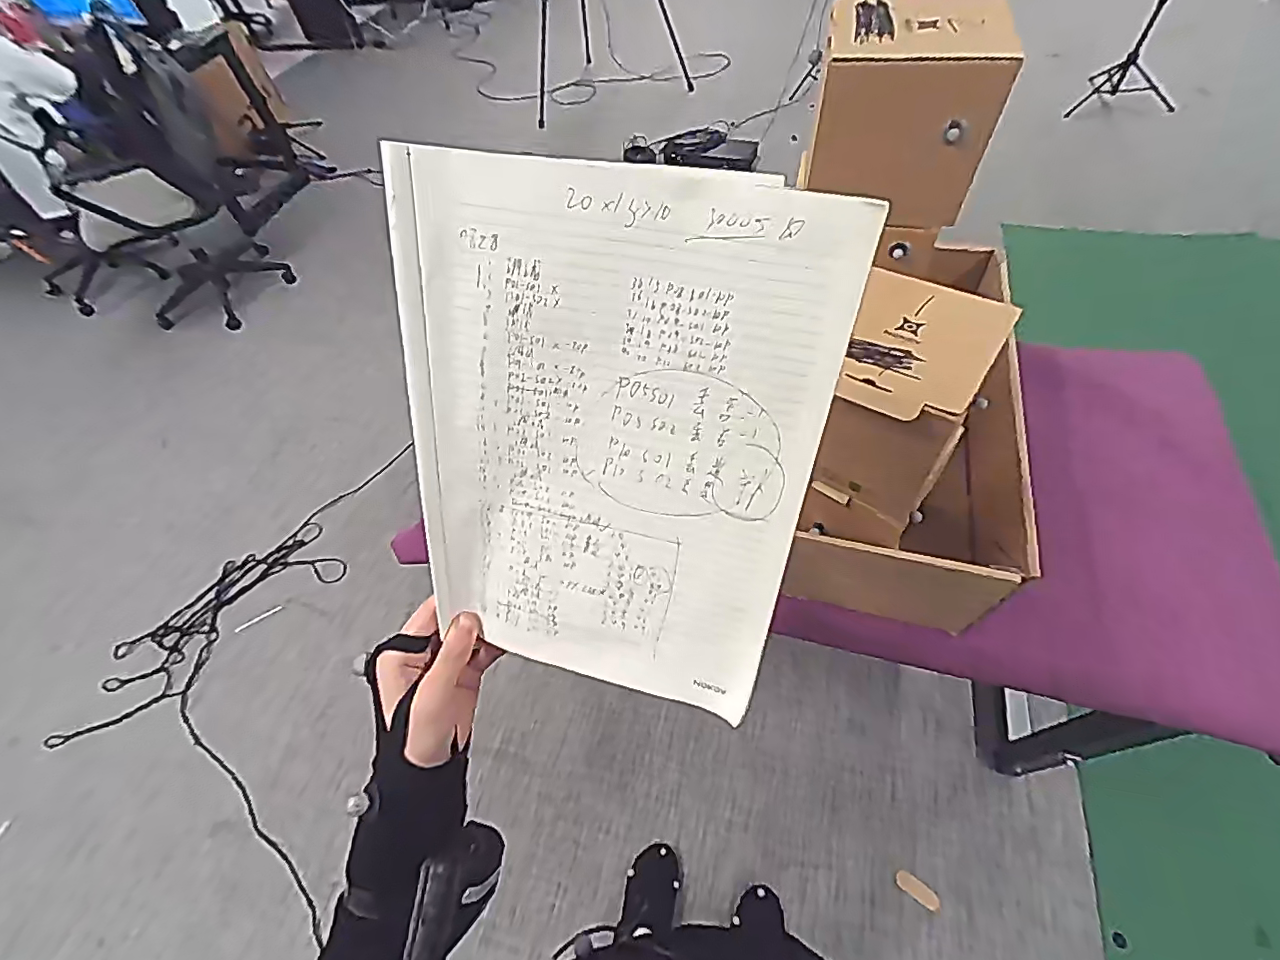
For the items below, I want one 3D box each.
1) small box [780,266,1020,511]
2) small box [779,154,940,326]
[{"bbox_3d":[0.267,-0.097,0.593,0.168,0.176,0.179,29,62,26],"label":"small box"},{"bbox_3d":[0.296,-0.327,0.755,0.179,0.176,0.168,9,59,13],"label":"small box"}]
